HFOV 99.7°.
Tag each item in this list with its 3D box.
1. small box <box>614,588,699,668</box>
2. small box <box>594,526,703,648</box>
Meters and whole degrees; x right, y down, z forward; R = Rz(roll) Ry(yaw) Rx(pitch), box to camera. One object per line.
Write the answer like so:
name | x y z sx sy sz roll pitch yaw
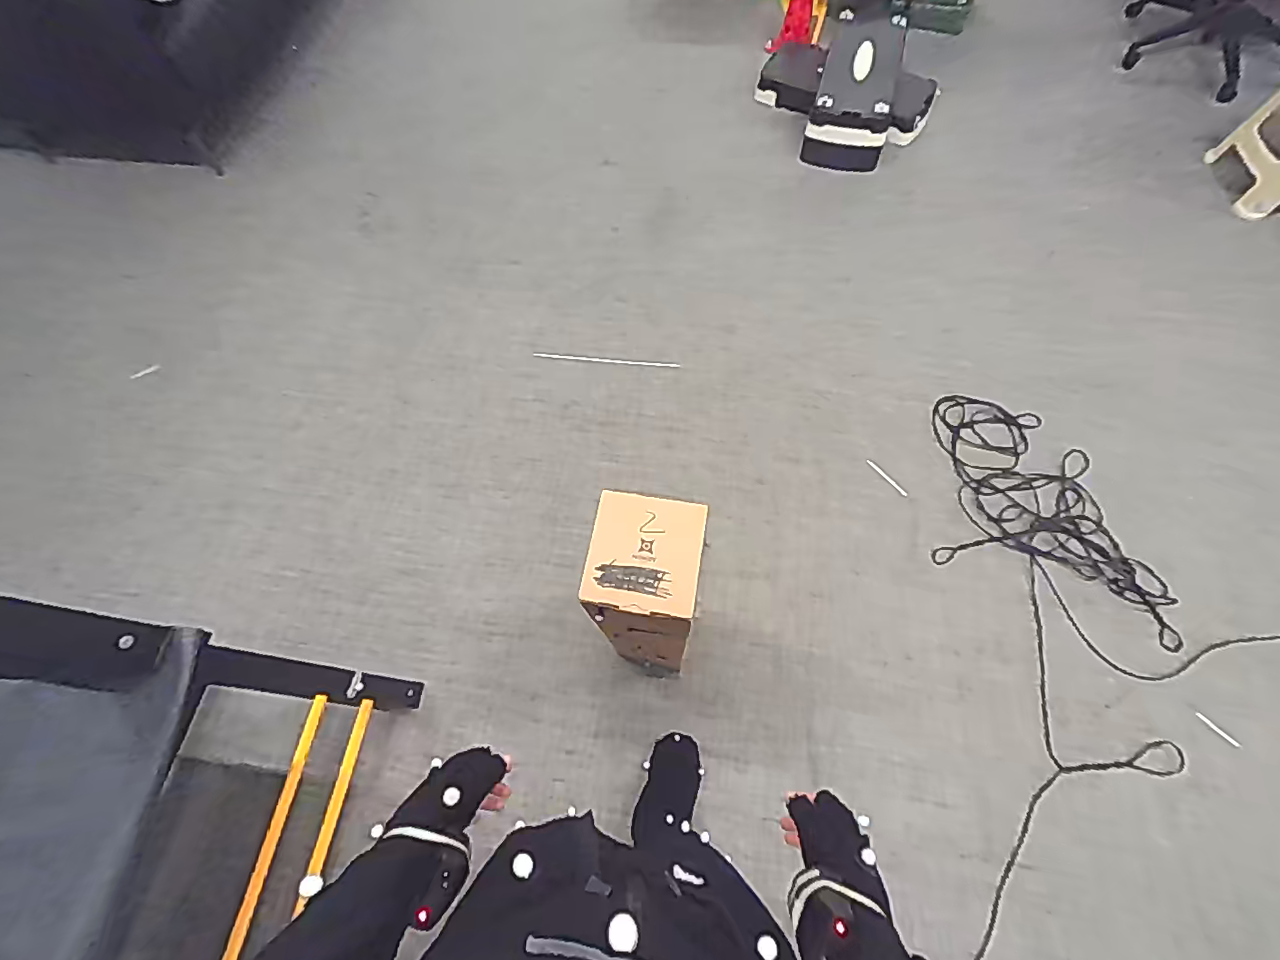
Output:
small box | 0.043 0.344 1.313 0.168 0.176 0.179 12 68 9
small box | 0.022 0.207 1.016 0.168 0.176 0.179 9 66 7
